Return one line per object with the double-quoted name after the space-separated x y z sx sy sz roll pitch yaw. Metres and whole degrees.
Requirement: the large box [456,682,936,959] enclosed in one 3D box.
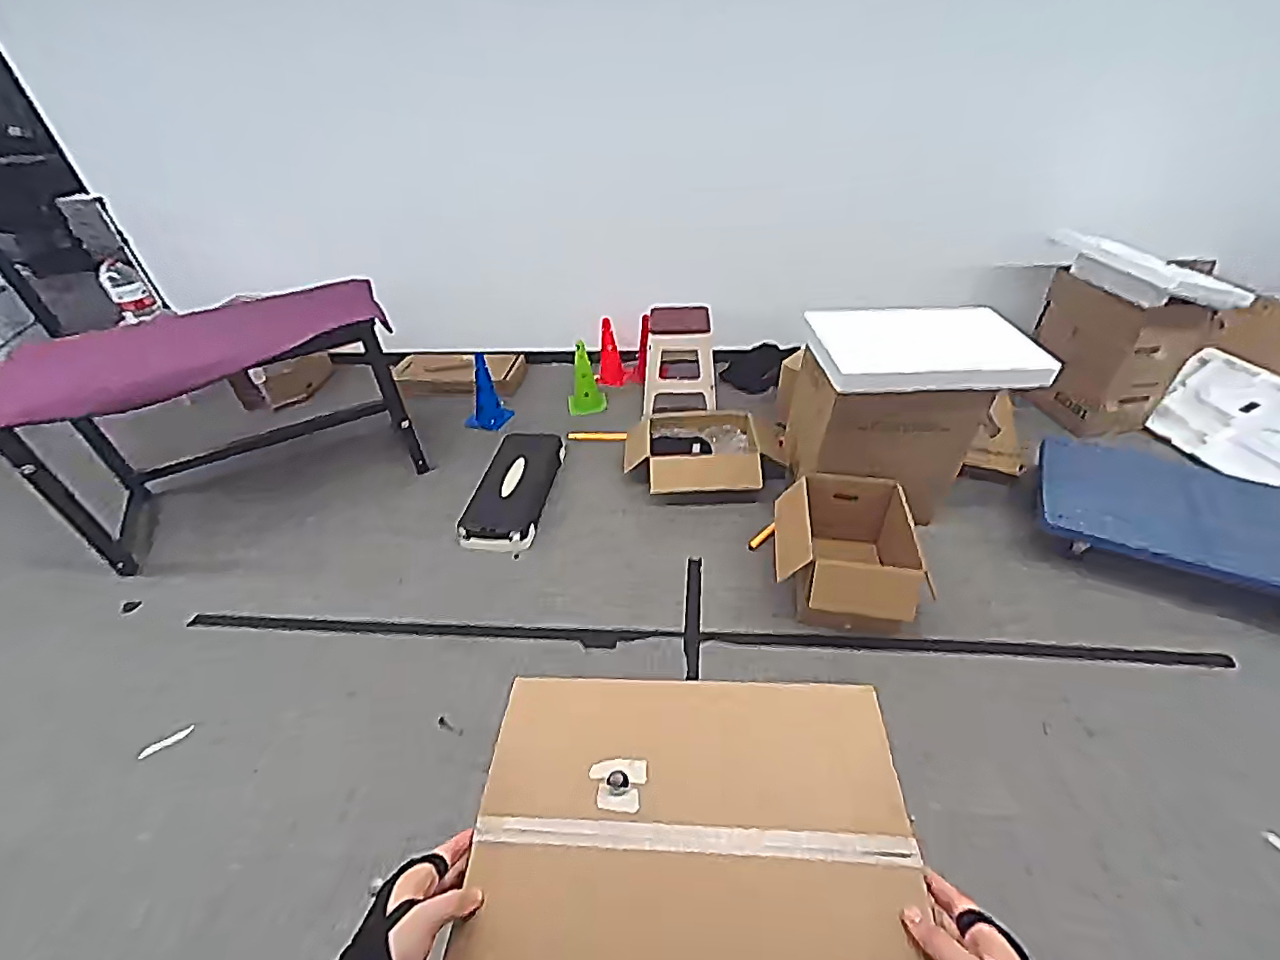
0.062 0.448 0.609 0.408 0.320 0.320 -3 41 7 "large box"
